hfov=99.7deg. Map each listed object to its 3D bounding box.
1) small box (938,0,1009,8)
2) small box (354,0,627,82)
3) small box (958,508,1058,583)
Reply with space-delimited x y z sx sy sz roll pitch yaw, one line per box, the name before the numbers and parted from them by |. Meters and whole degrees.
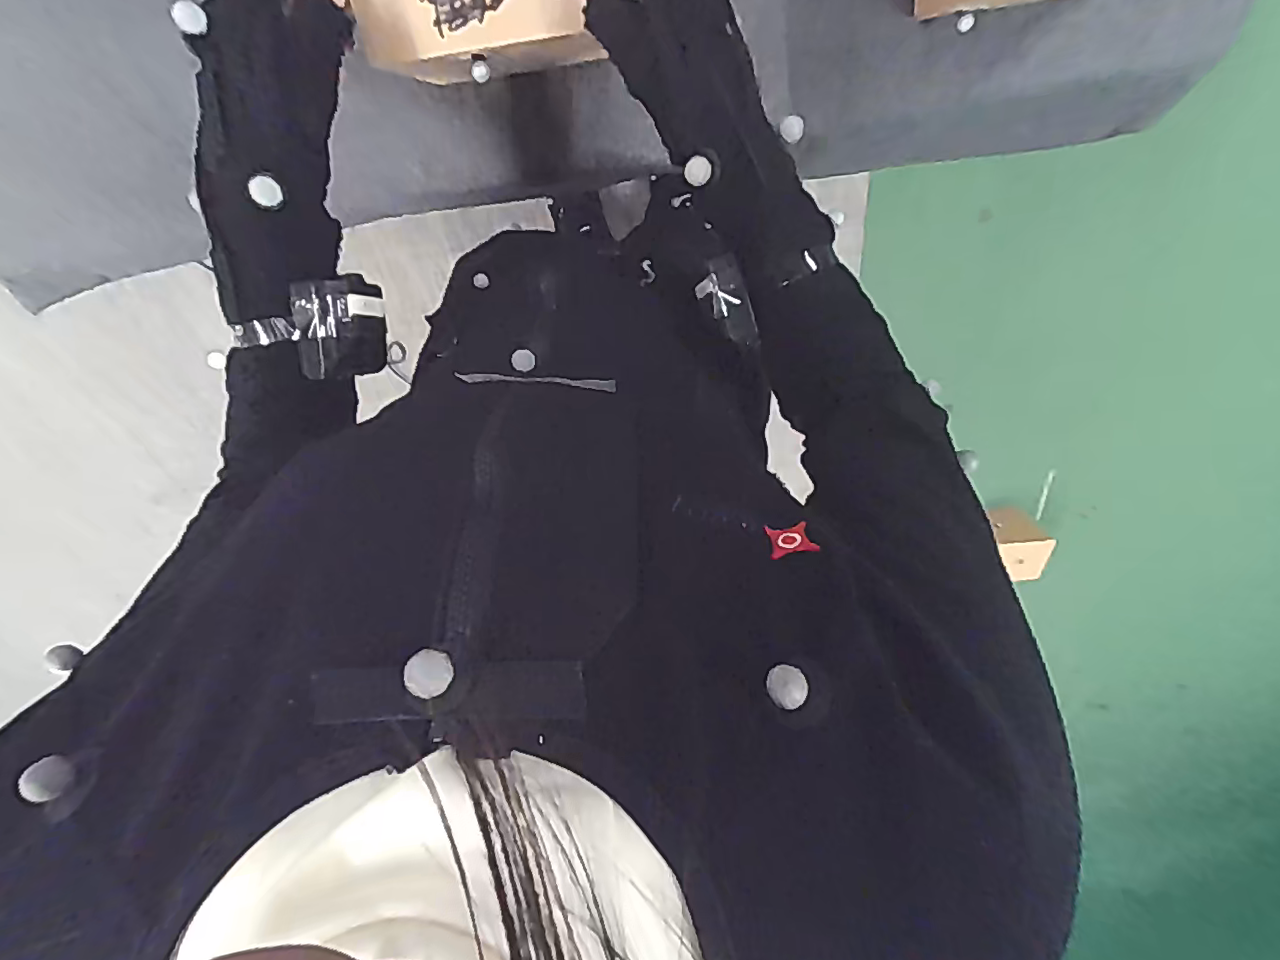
small box | 0.312 -0.443 0.357 0.168 0.176 0.179 -8 122 2
small box | -0.105 -0.390 0.362 0.168 0.176 0.179 -8 124 1
small box | 1.149 0.205 1.707 0.179 0.176 0.168 -4 126 -2
